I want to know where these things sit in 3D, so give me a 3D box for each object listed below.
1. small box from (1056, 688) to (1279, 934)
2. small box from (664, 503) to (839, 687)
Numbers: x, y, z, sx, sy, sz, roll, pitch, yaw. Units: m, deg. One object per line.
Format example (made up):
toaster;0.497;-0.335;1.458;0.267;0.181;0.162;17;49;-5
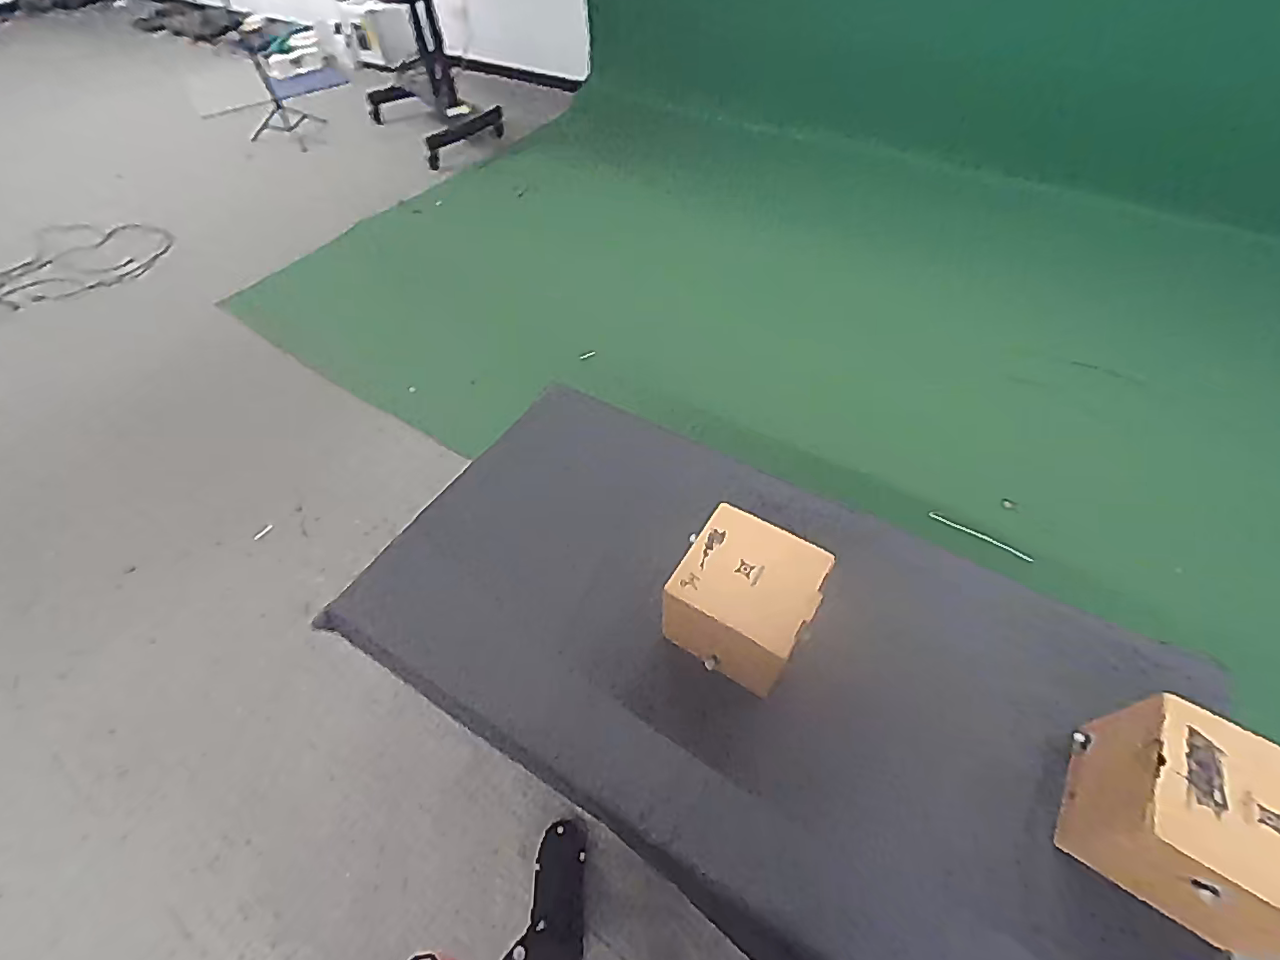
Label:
small box;0.622;0.377;0.615;0.179;0.176;0.168;29;58;19
small box;0.149;0.171;0.770;0.179;0.176;0.168;27;57;18
